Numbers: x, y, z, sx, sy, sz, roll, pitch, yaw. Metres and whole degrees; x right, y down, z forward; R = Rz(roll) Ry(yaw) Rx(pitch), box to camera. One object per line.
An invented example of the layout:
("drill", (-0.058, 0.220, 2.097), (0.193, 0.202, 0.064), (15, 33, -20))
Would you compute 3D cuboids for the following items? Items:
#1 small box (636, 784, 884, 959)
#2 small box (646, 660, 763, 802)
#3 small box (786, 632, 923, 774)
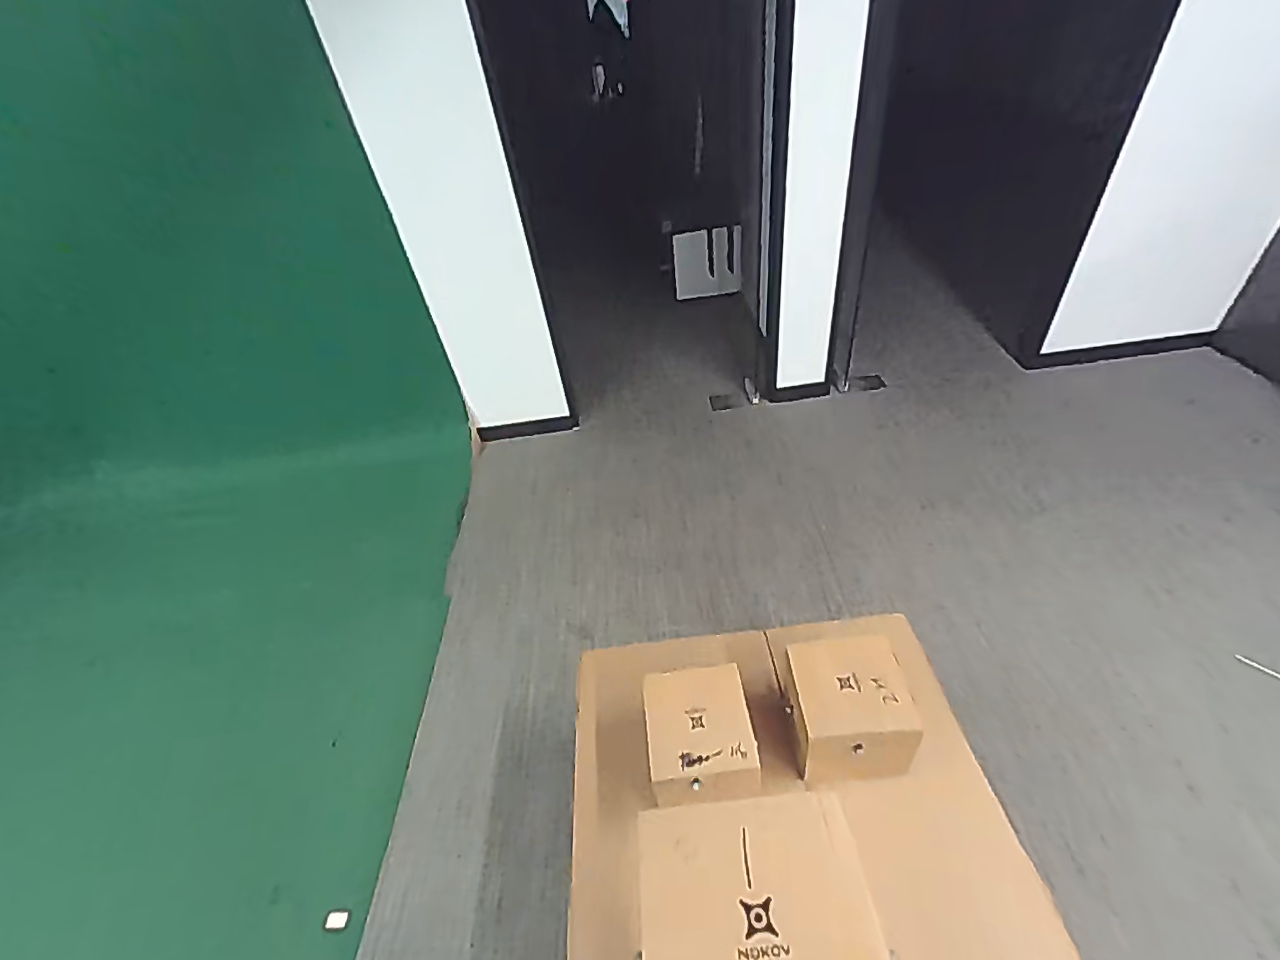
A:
("small box", (0.092, 0.375, 0.424), (0.168, 0.176, 0.179), (-8, 35, 3))
("small box", (0.105, 0.435, 0.915), (0.168, 0.176, 0.179), (-9, 40, 2))
("small box", (0.353, 0.384, 0.924), (0.179, 0.176, 0.168), (-7, 41, 6))
